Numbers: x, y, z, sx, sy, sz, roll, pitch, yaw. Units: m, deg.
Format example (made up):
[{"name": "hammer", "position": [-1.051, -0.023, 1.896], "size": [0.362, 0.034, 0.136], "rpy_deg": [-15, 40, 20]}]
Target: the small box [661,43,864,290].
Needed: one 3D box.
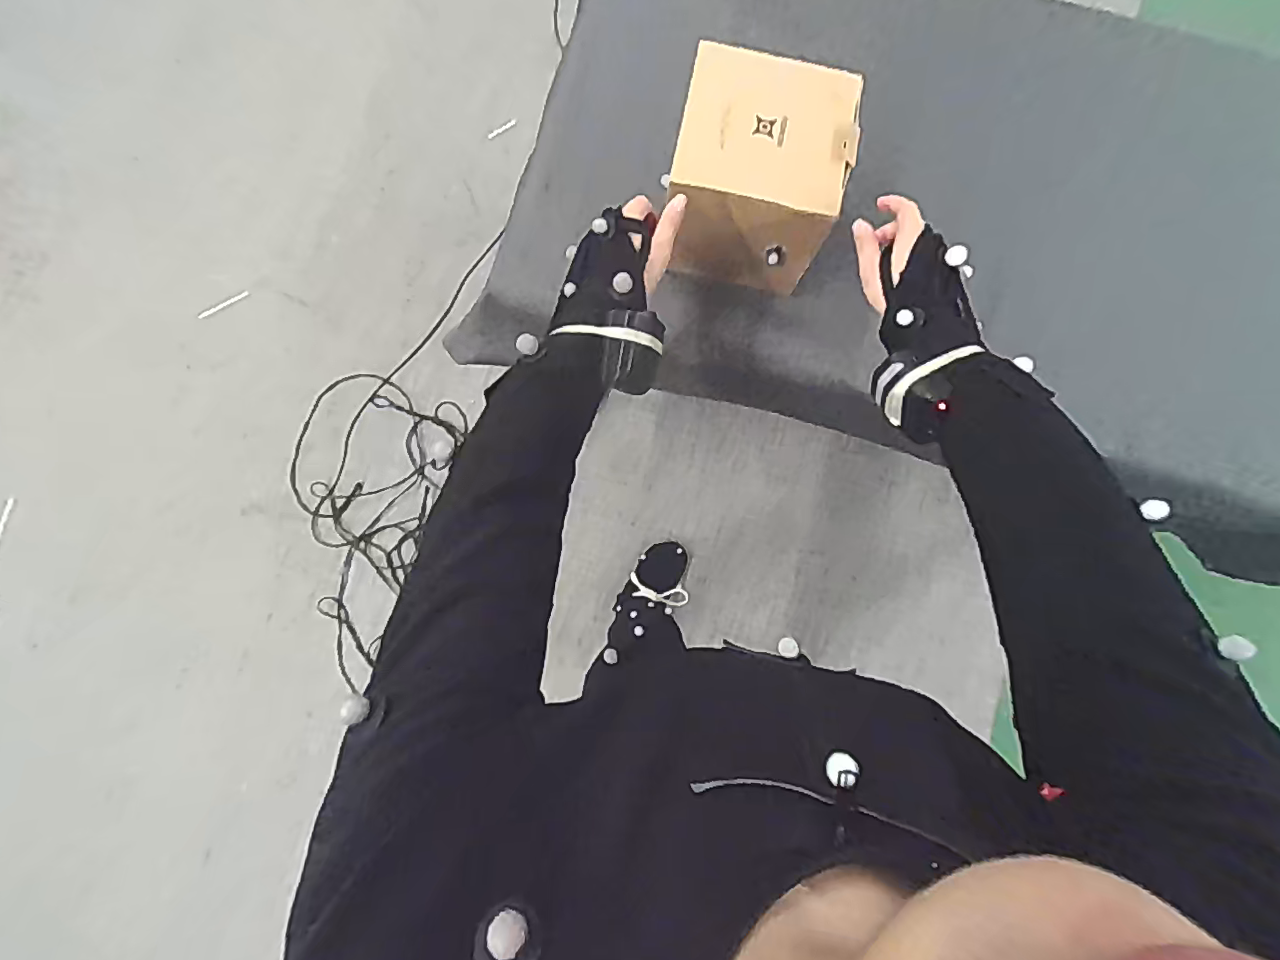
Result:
[{"name": "small box", "position": [0.128, -0.342, 0.623], "size": [0.179, 0.176, 0.168], "rpy_deg": [11, 82, 1]}]
